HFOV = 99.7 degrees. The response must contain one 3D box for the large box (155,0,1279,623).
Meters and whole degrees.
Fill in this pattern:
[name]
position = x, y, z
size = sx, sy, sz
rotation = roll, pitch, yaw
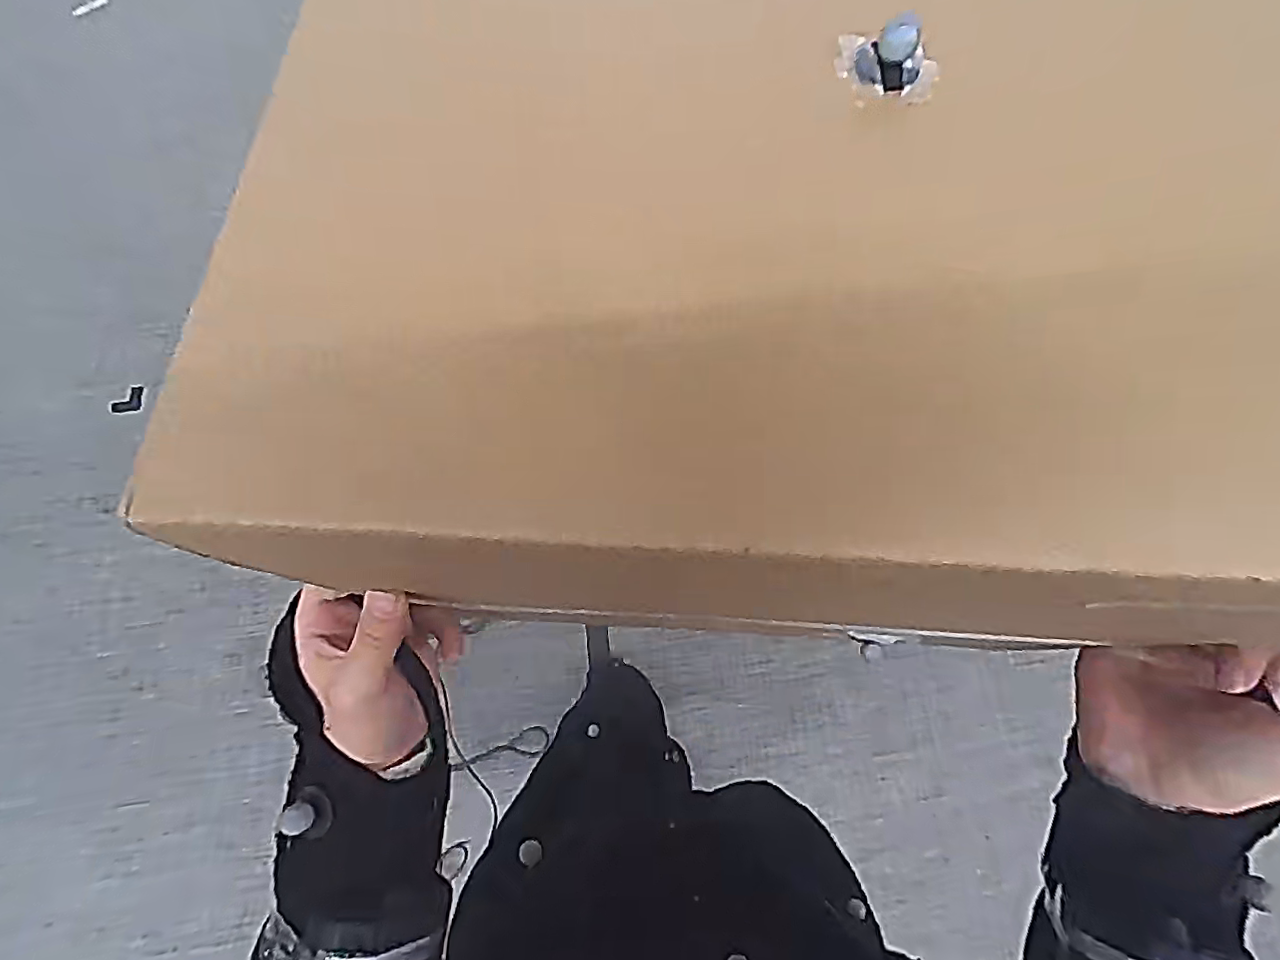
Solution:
[large box]
position = 0.074, -0.089, 0.321
size = 0.408, 0.320, 0.320
rotation = 2, 73, 0
